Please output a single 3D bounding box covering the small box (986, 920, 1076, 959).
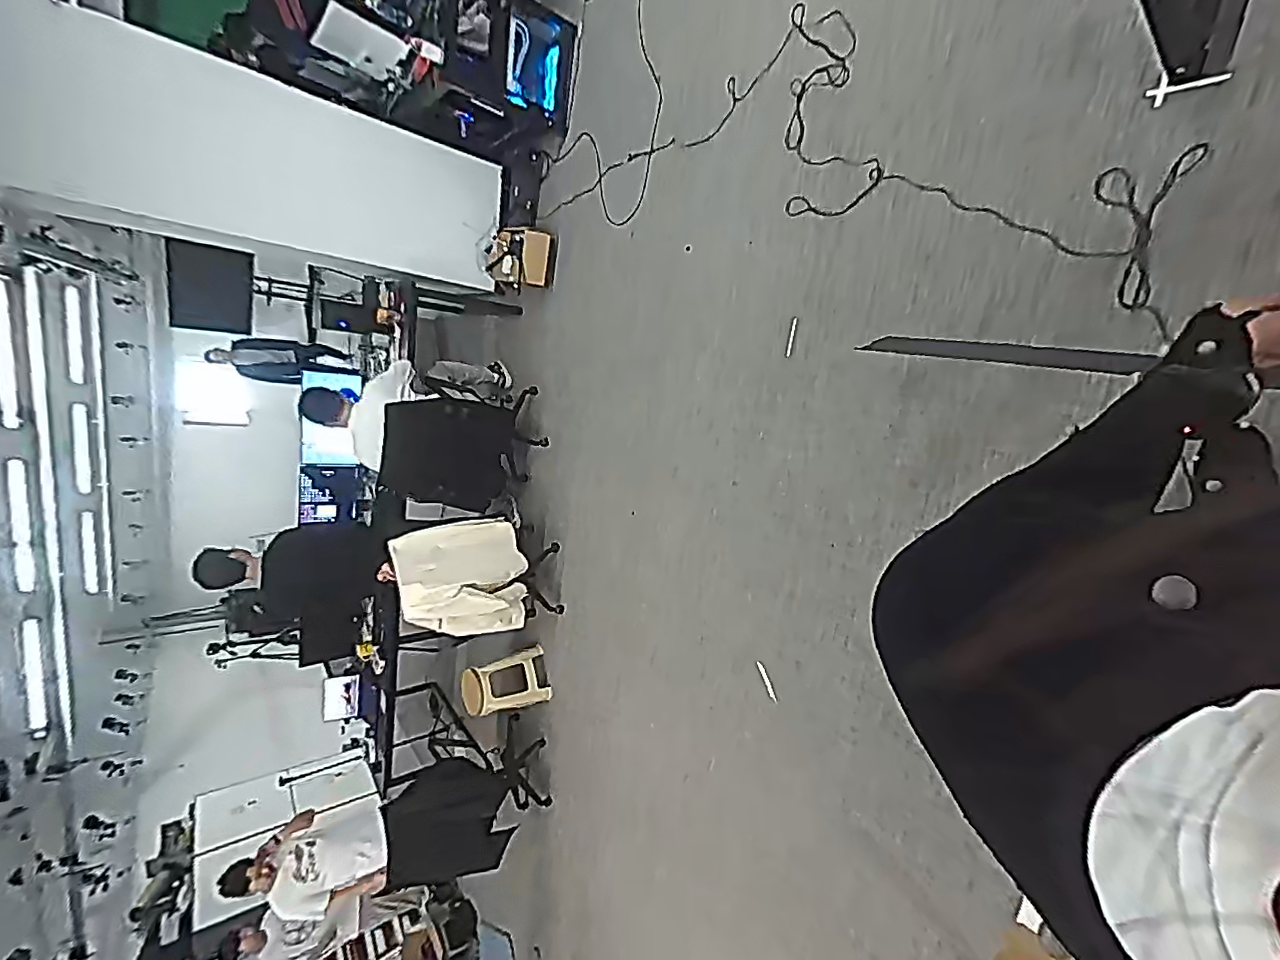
[{"bbox_3d":[0.645,0.879,0.867,0.168,0.176,0.179,18,105,48],"label":"small box"}]
